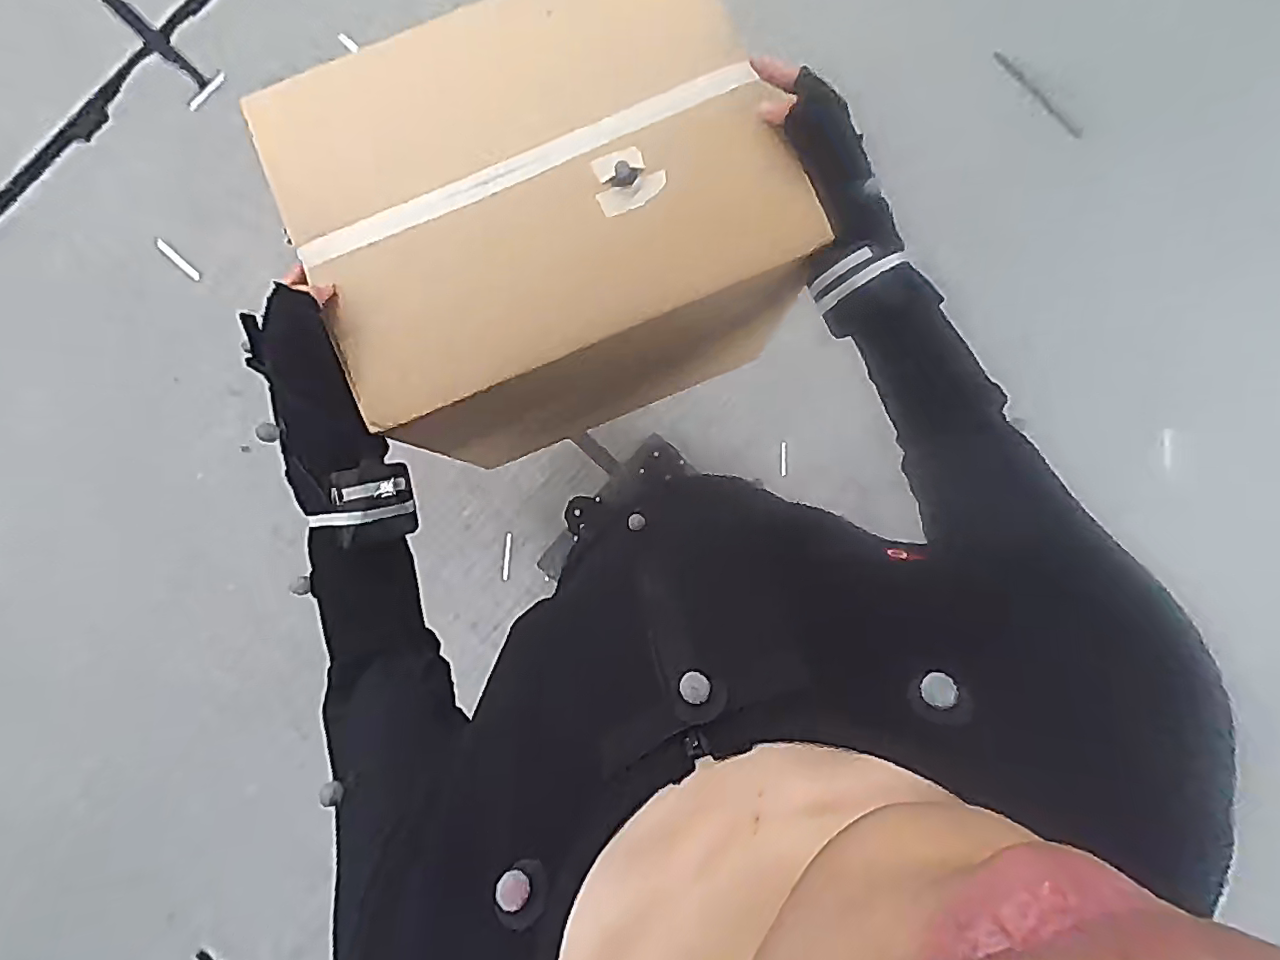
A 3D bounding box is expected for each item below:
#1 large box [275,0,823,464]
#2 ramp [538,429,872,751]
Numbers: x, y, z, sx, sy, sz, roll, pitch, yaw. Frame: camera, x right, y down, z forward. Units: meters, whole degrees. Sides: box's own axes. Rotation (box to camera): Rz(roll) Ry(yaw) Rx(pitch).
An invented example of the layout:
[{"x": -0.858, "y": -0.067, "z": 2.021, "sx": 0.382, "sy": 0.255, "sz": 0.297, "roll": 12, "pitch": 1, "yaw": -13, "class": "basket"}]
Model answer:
[{"x": -0.082, "y": -0.249, "z": 0.611, "sx": 0.408, "sy": 0.320, "sz": 0.320, "roll": -23, "pitch": 85, "yaw": -1, "class": "large box"}, {"x": 0.235, "y": 0.354, "z": 1.600, "sx": 0.991, "sy": 0.206, "sz": 0.509, "roll": 40, "pitch": 86, "yaw": -4, "class": "ramp"}]
